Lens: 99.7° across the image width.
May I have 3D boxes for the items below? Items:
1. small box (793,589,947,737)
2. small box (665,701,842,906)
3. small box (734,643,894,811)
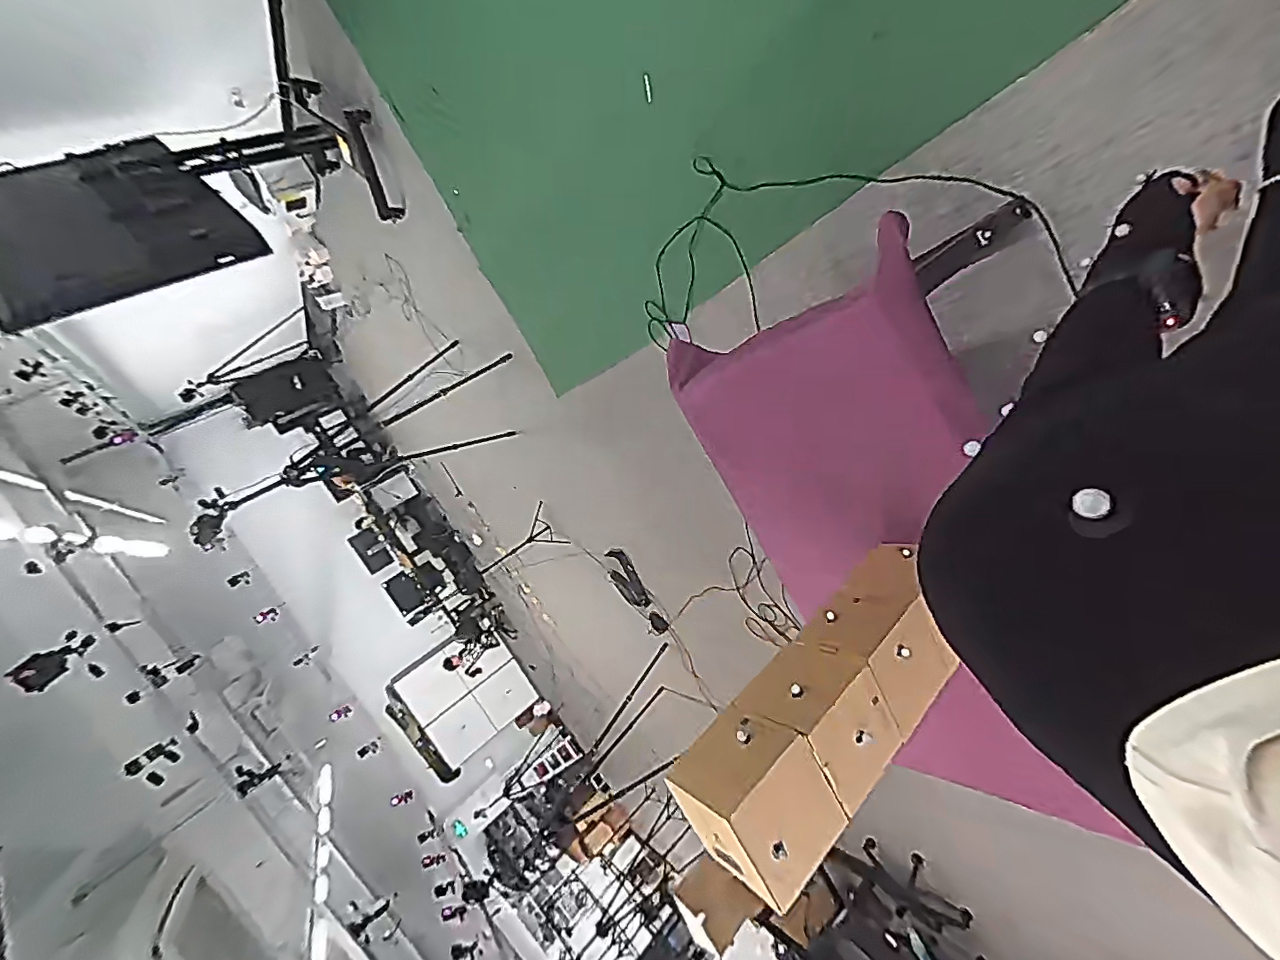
[{"bbox_3d":[0.419,0.318,0.983,0.168,0.176,0.179,-8,113,59],"label":"small box"},{"bbox_3d":[0.177,0.481,0.833,0.168,0.176,0.179,-12,109,60],"label":"small box"},{"bbox_3d":[0.298,0.399,0.910,0.179,0.176,0.168,-9,112,59],"label":"small box"}]
